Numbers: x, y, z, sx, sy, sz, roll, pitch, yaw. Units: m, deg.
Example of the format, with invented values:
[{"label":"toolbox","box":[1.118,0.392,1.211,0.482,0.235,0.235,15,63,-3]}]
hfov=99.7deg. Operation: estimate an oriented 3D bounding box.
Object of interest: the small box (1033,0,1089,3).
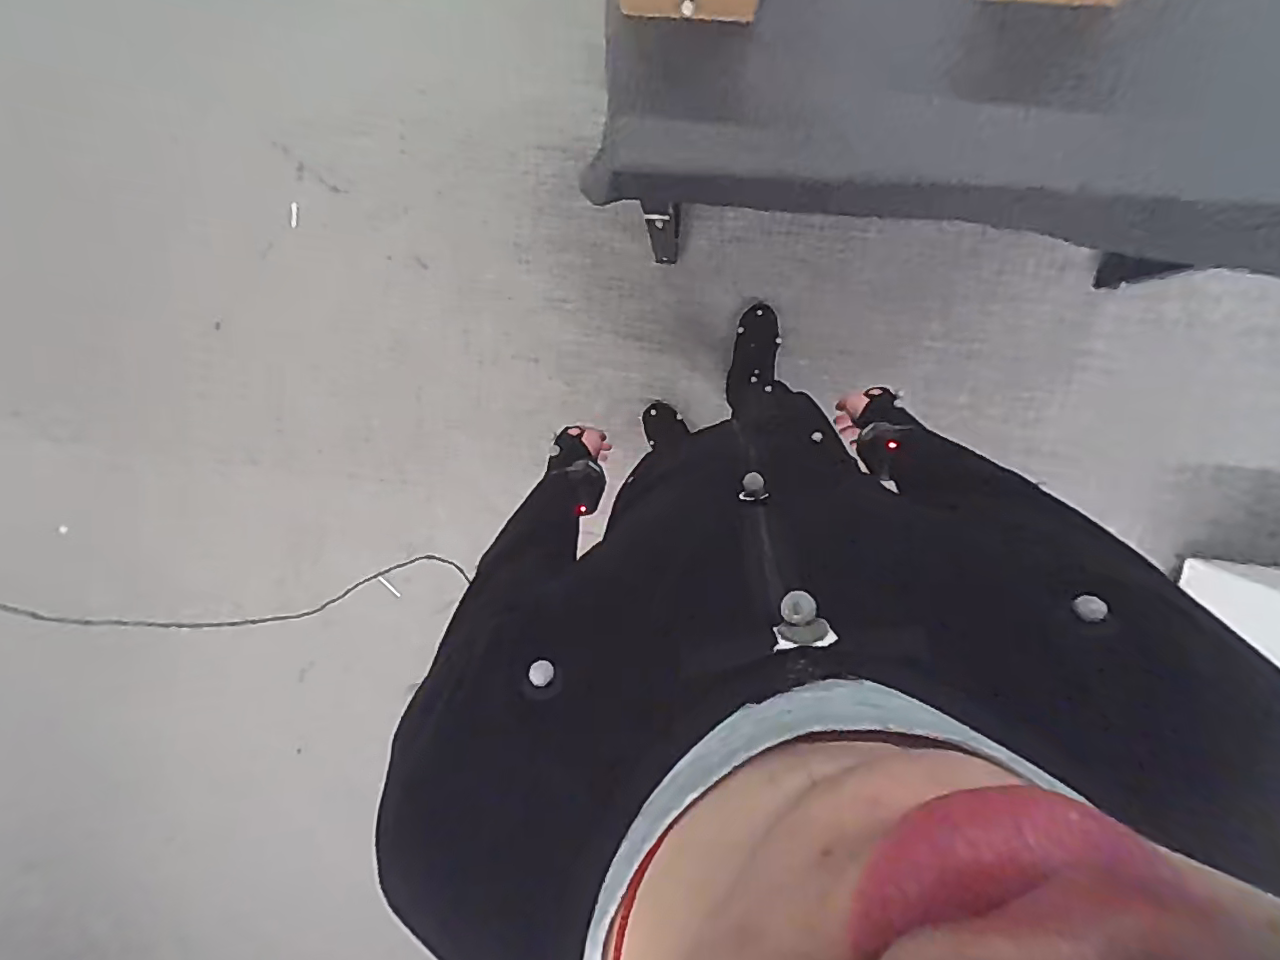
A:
[{"label":"small box","box":[0.496,-0.664,0.583,0.179,0.176,0.168,6,99,3]}]

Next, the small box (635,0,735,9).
[{"label":"small box","box":[0.056,-0.670,0.598,0.179,0.176,0.168,5,100,0]}]
